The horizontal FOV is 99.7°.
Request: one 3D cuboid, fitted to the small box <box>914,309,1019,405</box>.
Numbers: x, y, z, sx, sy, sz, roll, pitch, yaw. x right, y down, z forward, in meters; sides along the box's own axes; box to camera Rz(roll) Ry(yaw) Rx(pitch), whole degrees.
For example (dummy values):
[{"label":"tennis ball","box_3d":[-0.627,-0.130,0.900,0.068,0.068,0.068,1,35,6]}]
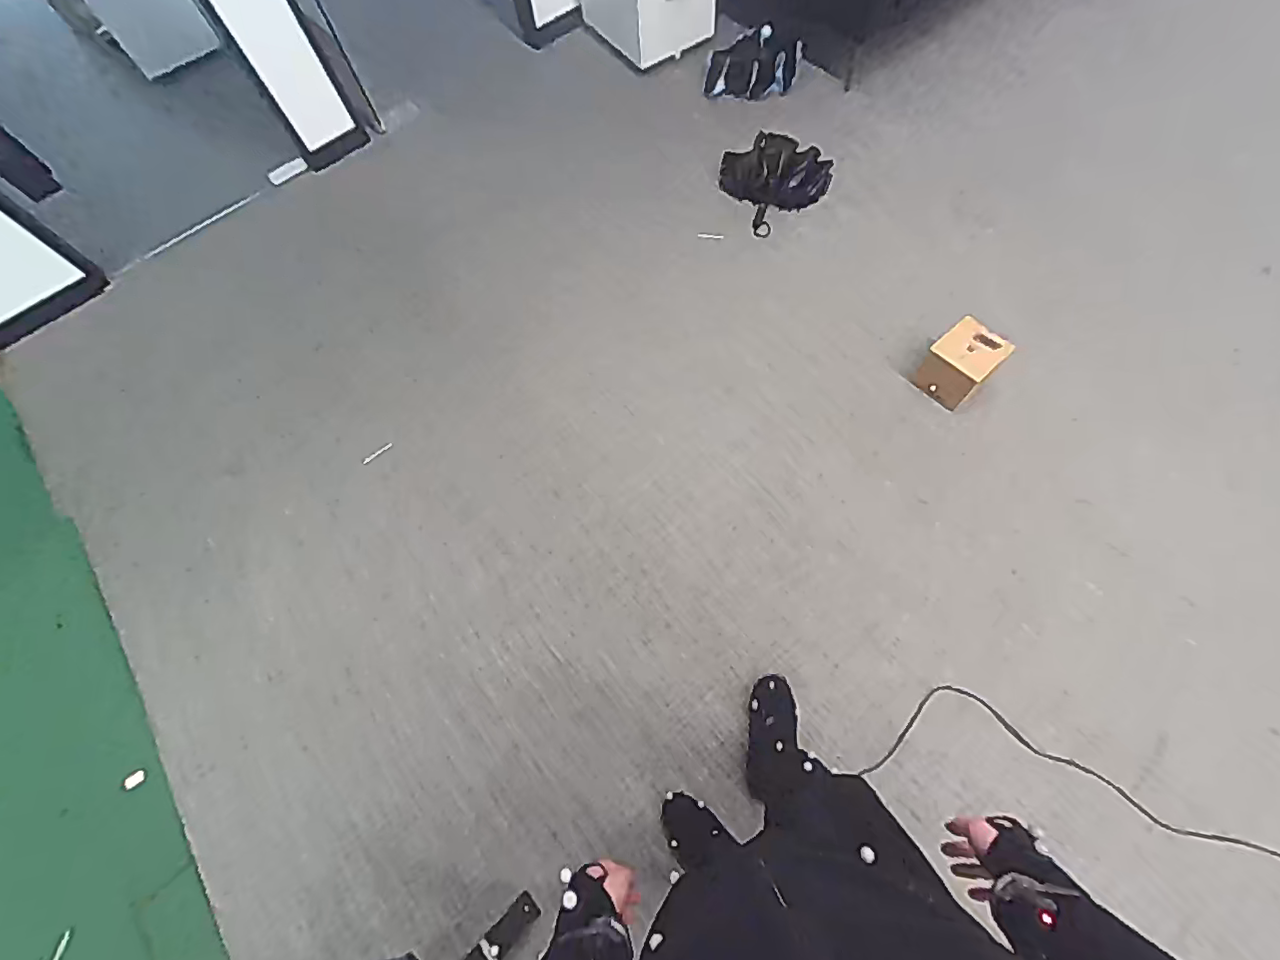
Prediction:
[{"label":"small box","box_3d":[0.950,-0.359,1.593,0.179,0.176,0.168,-40,69,-11]}]
